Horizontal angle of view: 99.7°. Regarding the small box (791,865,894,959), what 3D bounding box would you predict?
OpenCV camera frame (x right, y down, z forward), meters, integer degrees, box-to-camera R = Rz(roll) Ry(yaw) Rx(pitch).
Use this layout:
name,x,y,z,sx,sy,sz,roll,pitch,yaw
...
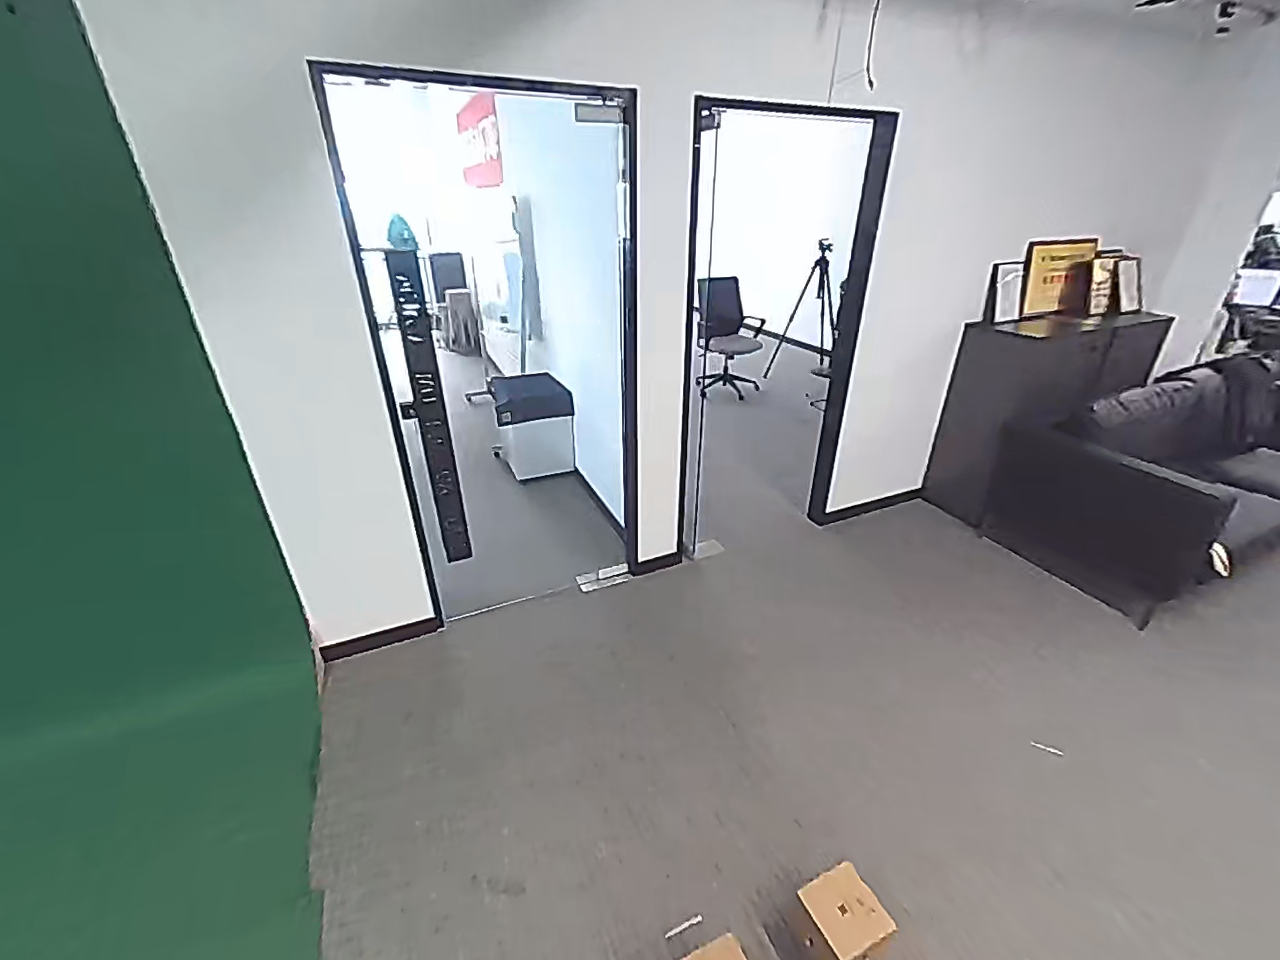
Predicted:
name,x,y,z,sx,sy,sz,roll,pitch,yaw
small box,0.496,1.125,1.351,0.179,0.176,0.168,-11,30,-22

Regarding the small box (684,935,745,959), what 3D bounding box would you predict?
name,x,y,z,sx,sy,sz,roll,pitch,yaw
small box,0.171,1.193,1.218,0.179,0.176,0.168,-11,29,-21
